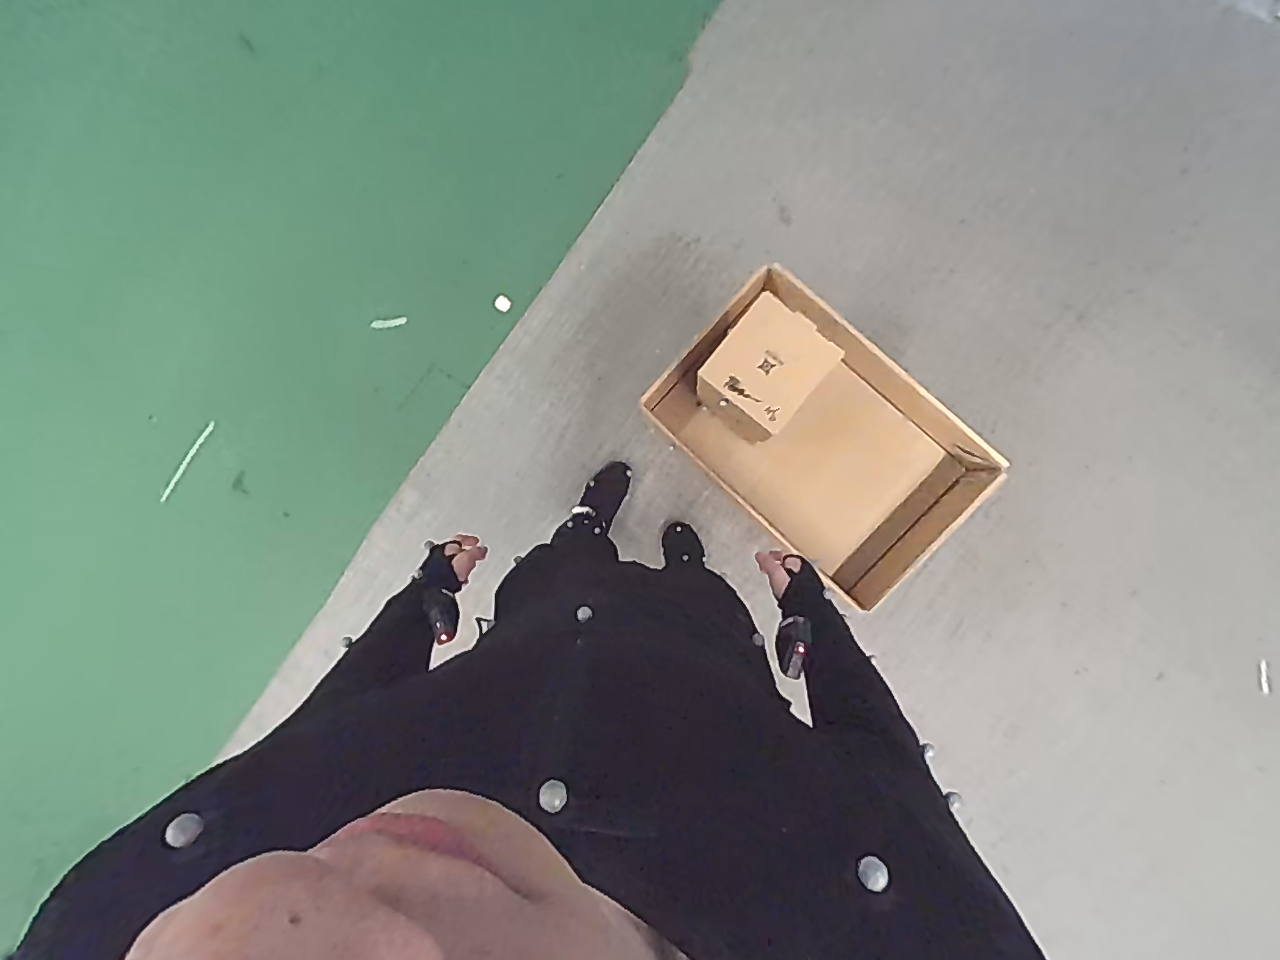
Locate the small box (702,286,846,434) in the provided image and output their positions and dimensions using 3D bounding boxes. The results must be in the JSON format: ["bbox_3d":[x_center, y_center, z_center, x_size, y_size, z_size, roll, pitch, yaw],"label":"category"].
[{"bbox_3d":[0.222,-0.199,0.952,0.168,0.176,0.179,41,95,5],"label":"small box"}]
